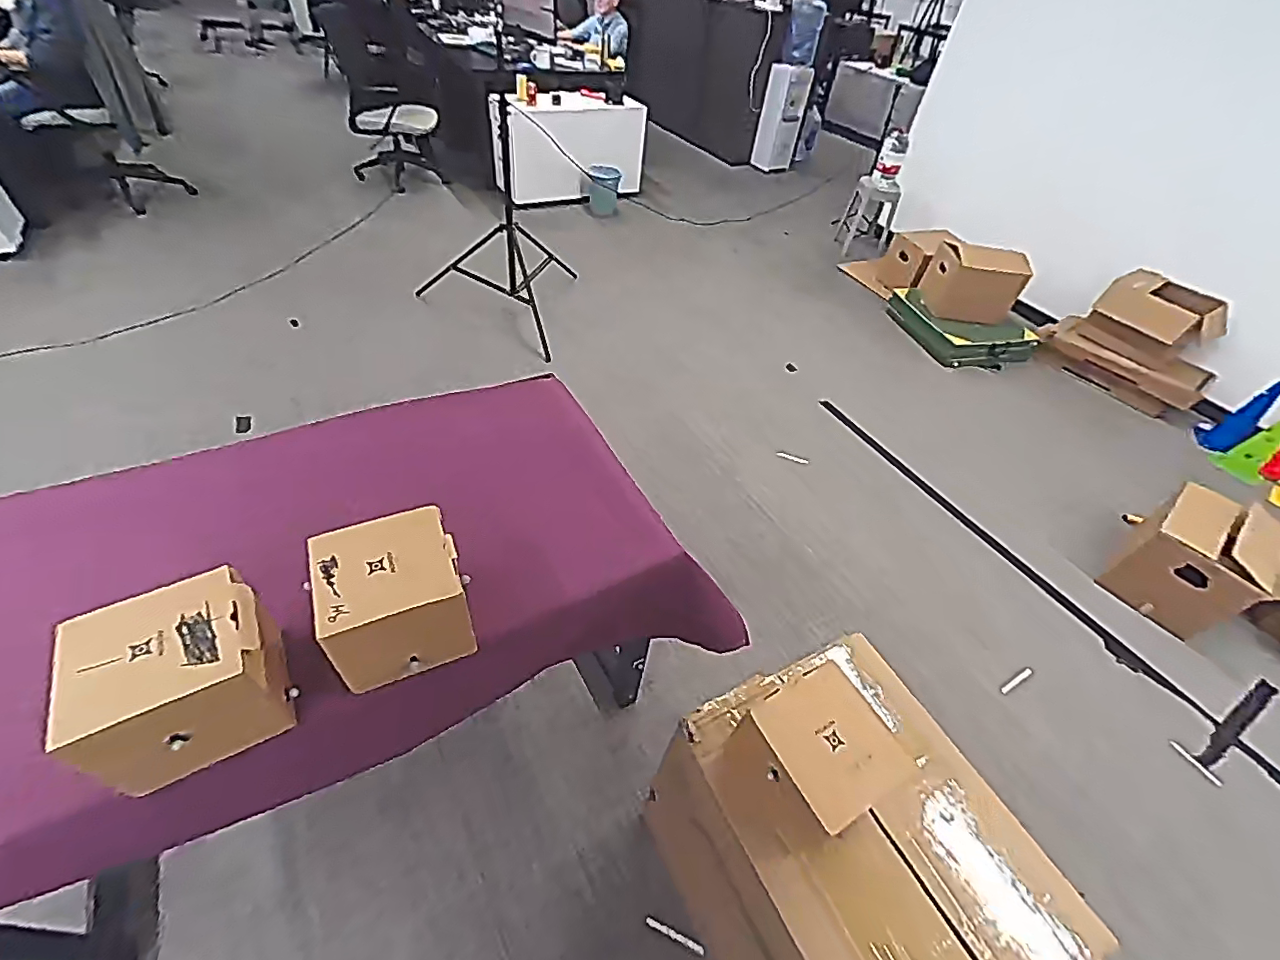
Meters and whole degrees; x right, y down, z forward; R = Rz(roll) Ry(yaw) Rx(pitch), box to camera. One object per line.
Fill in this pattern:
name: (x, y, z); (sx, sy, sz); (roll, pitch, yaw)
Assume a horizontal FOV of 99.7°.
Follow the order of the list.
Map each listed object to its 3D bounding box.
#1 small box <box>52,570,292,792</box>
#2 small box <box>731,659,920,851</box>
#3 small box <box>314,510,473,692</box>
small box: (-0.563, 0.250, 0.678); (0.179, 0.176, 0.168); (-21, 51, -24)
small box: (0.256, 0.404, 0.794); (0.168, 0.176, 0.179); (-21, 54, -22)
small box: (-0.349, 0.174, 0.785); (0.179, 0.176, 0.168); (-15, 49, -22)
